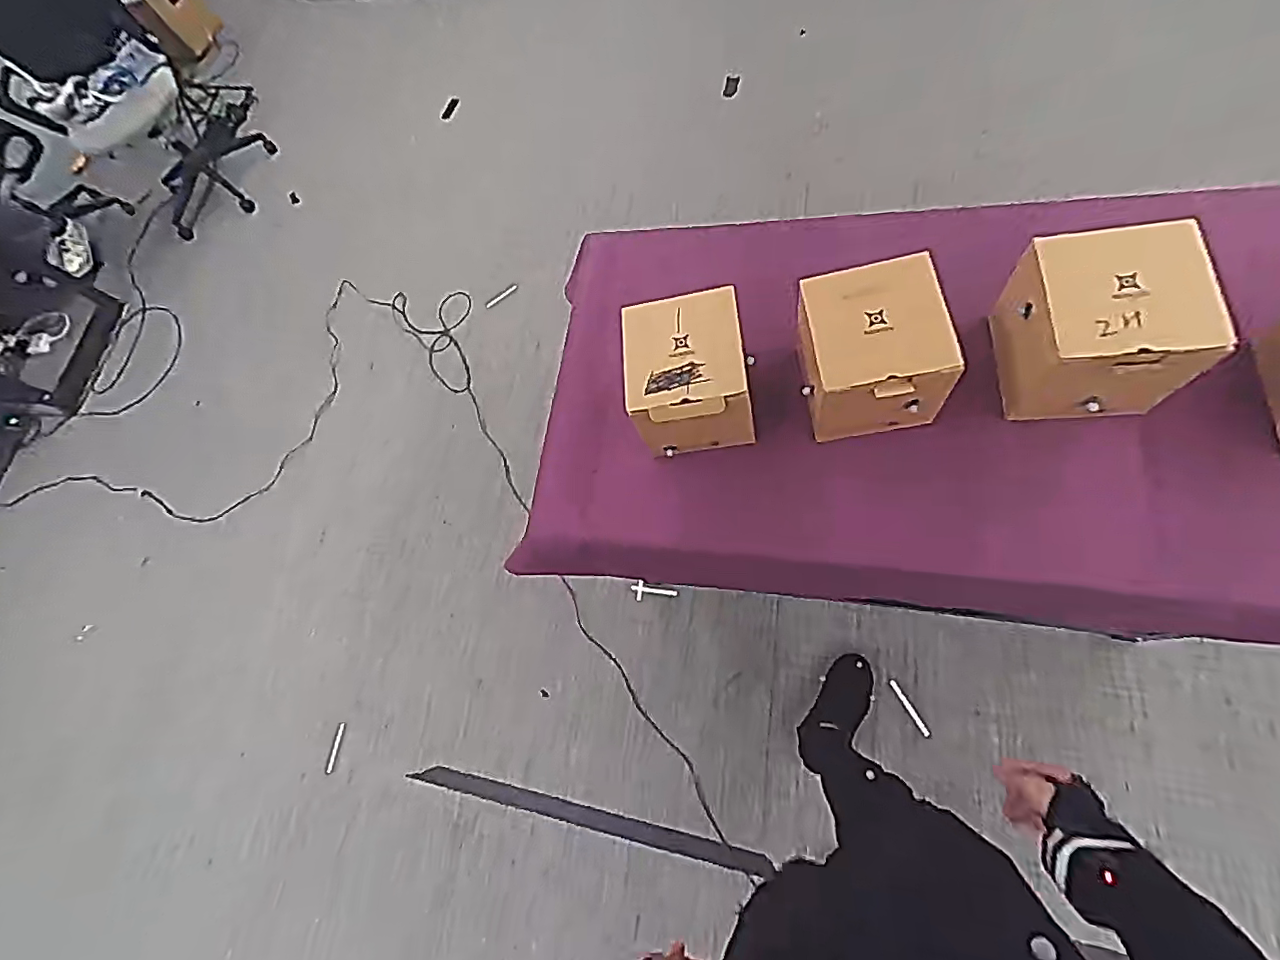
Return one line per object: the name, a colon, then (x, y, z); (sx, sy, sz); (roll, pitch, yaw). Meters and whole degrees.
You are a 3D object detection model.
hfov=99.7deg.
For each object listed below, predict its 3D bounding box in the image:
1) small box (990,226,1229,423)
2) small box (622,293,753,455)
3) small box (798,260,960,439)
small box: (0.577, -0.189, 0.698); (0.168, 0.176, 0.179); (-2, 71, 15)
small box: (0.077, -0.147, 0.821); (0.168, 0.176, 0.179); (-8, 69, 12)
small box: (0.321, -0.170, 0.764); (0.168, 0.176, 0.179); (-9, 69, 12)
